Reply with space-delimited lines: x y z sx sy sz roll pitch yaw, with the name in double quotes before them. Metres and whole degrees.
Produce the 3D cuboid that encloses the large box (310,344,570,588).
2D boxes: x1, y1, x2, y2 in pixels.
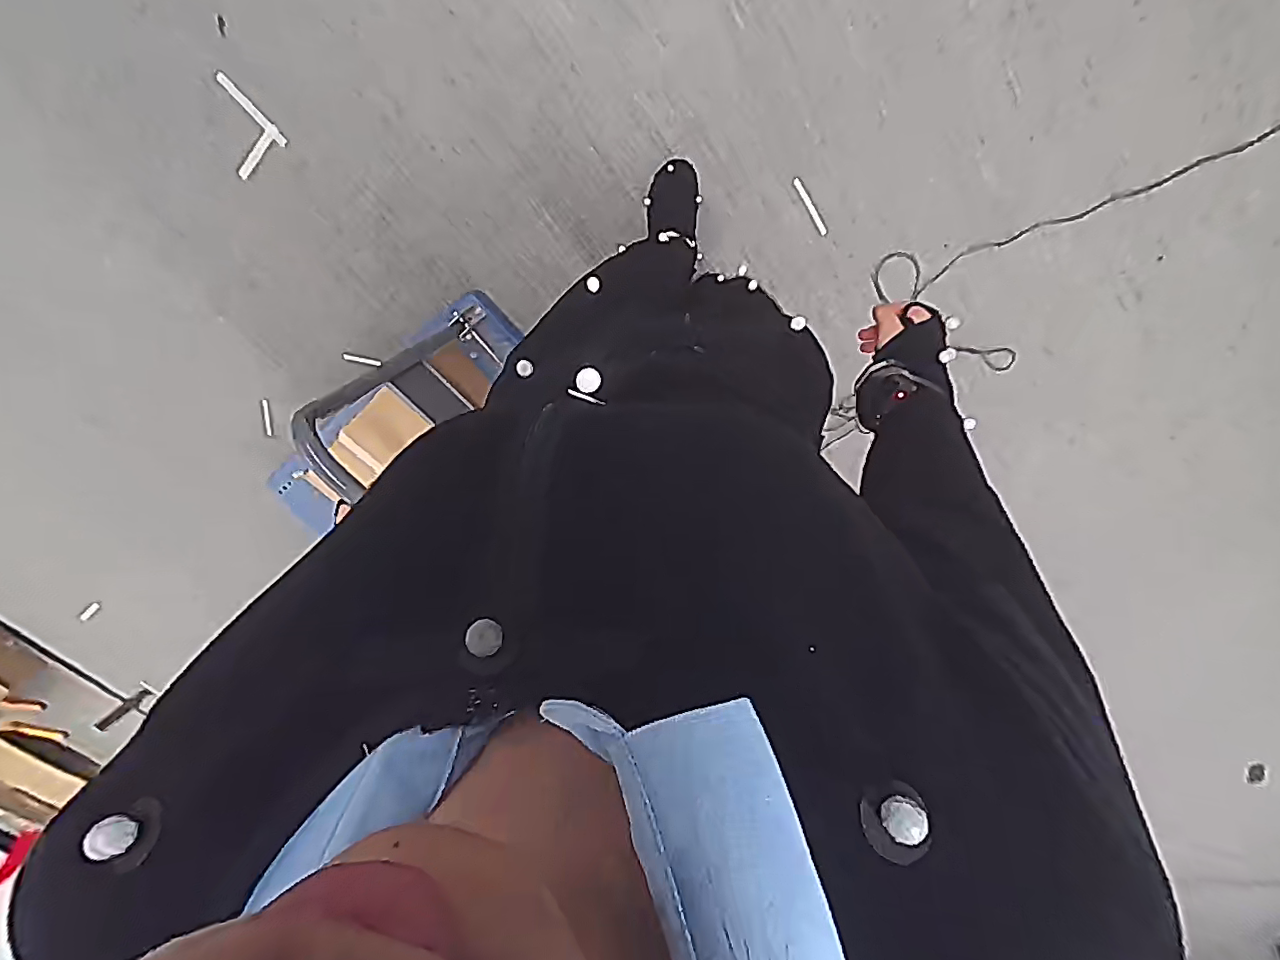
"large box" -0.431 -0.035 1.254 0.320 0.320 0.408 -37 109 22
